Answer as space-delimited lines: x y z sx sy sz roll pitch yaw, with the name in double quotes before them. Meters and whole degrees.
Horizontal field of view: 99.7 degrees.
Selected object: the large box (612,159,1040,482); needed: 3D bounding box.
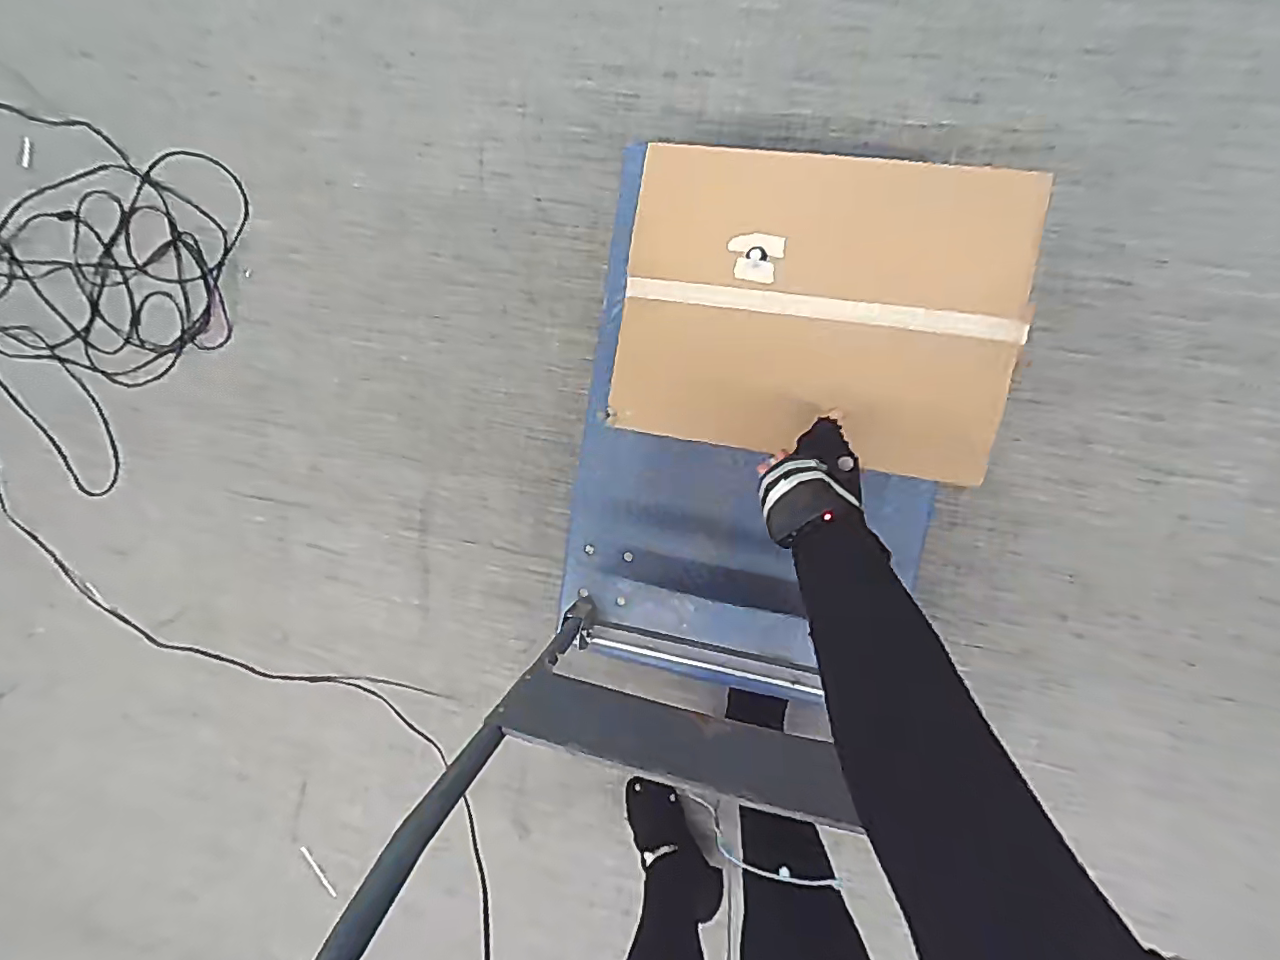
"large box" 0.208 -0.188 0.717 0.408 0.320 0.320 9 96 11
